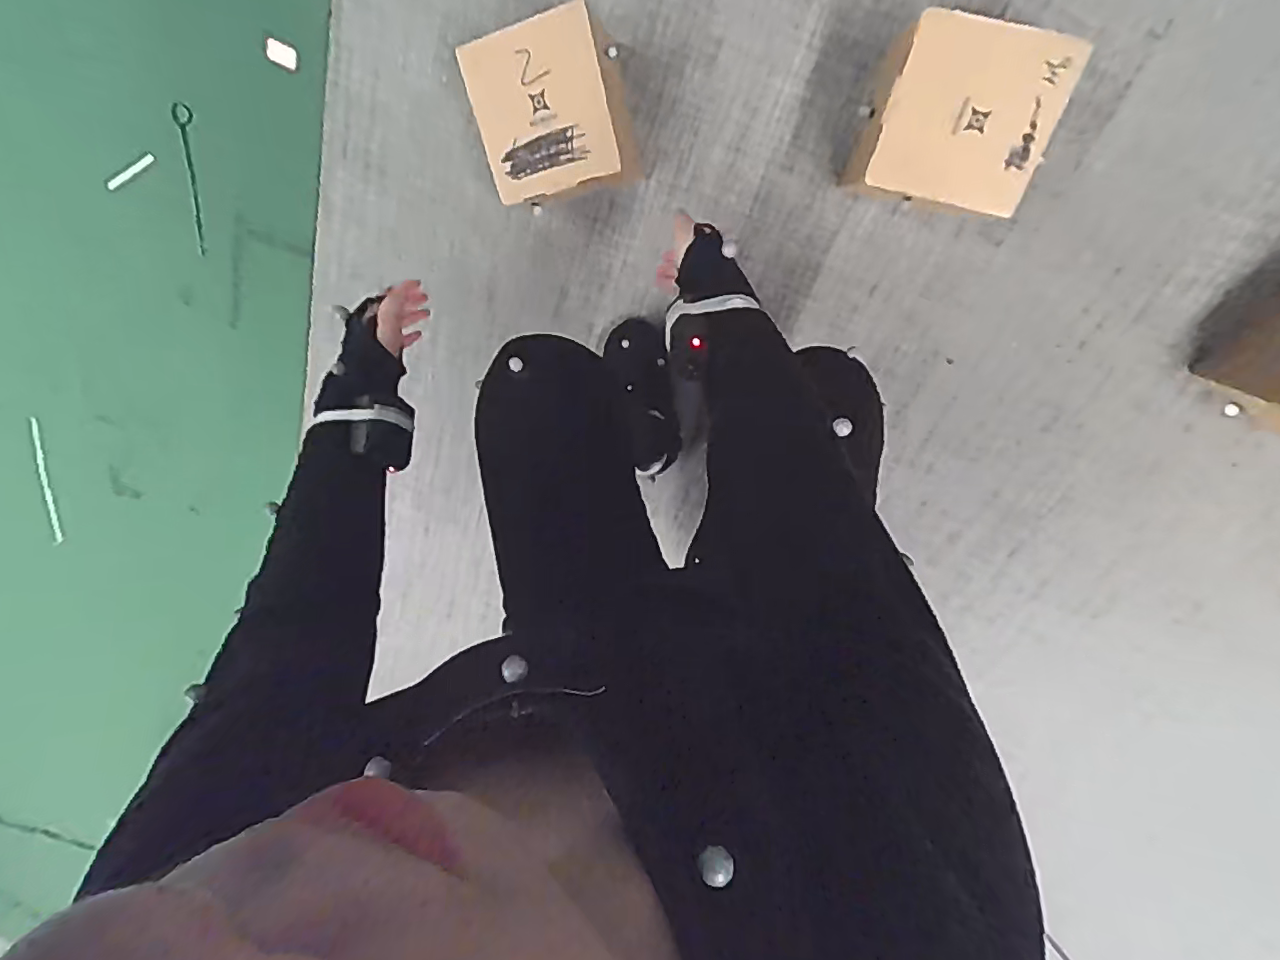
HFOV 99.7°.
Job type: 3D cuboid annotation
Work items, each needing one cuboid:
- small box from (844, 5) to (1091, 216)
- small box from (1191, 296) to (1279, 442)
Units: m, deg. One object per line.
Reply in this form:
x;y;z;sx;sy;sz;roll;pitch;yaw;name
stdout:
0.367;-0.425;0.654;0.179;0.176;0.168;16;118;3;small box
0.895;-0.141;0.691;0.168;0.176;0.179;34;117;-6;small box
